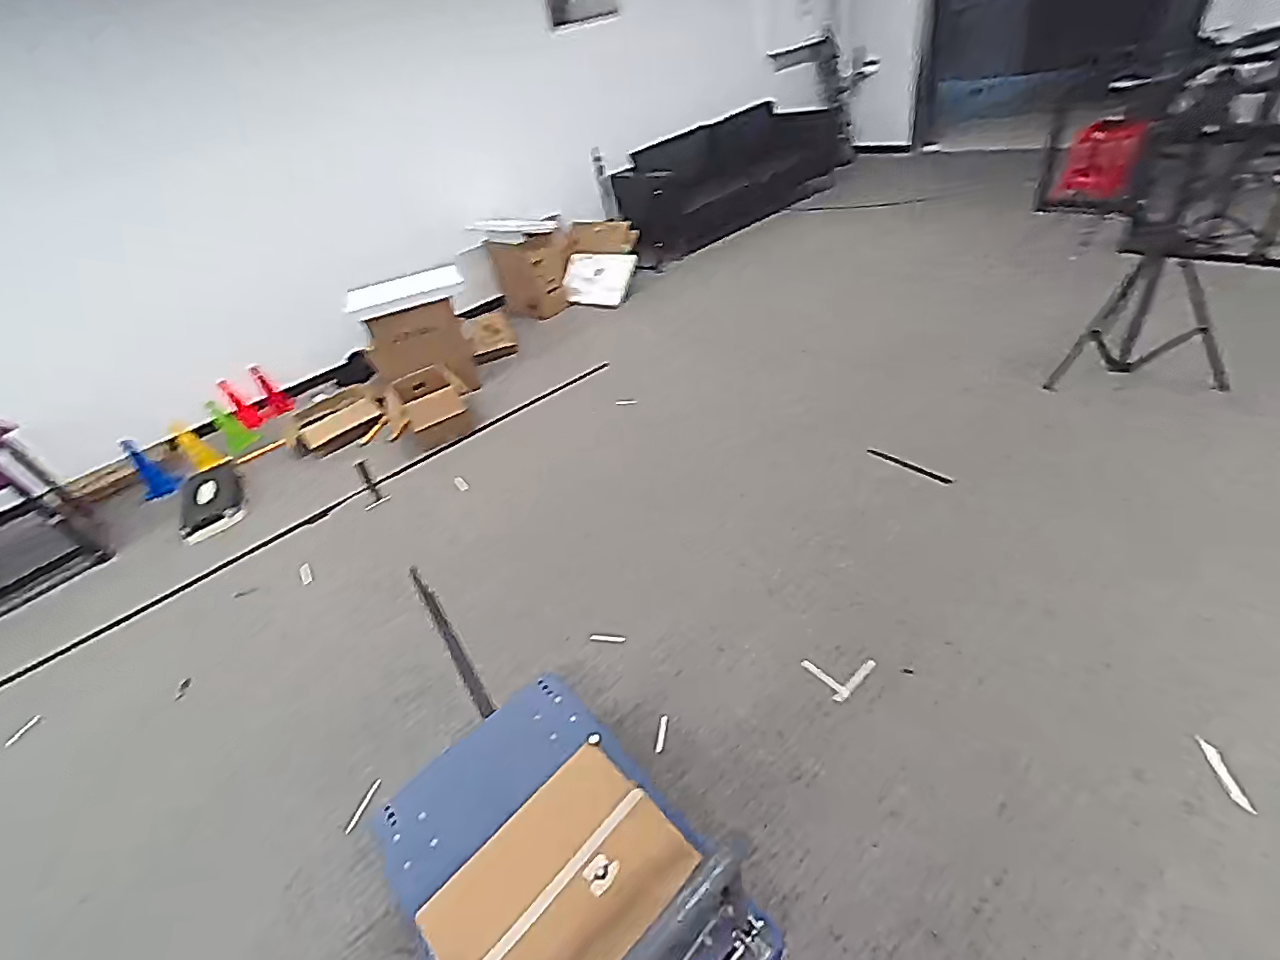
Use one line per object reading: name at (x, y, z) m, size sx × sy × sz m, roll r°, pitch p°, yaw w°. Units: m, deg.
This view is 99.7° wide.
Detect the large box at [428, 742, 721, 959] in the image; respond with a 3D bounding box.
large box at (-0.102, 0.815, 1.019) m, size 0.408 × 0.320 × 0.320 m, roll -36°, pitch 43°, yaw -28°
